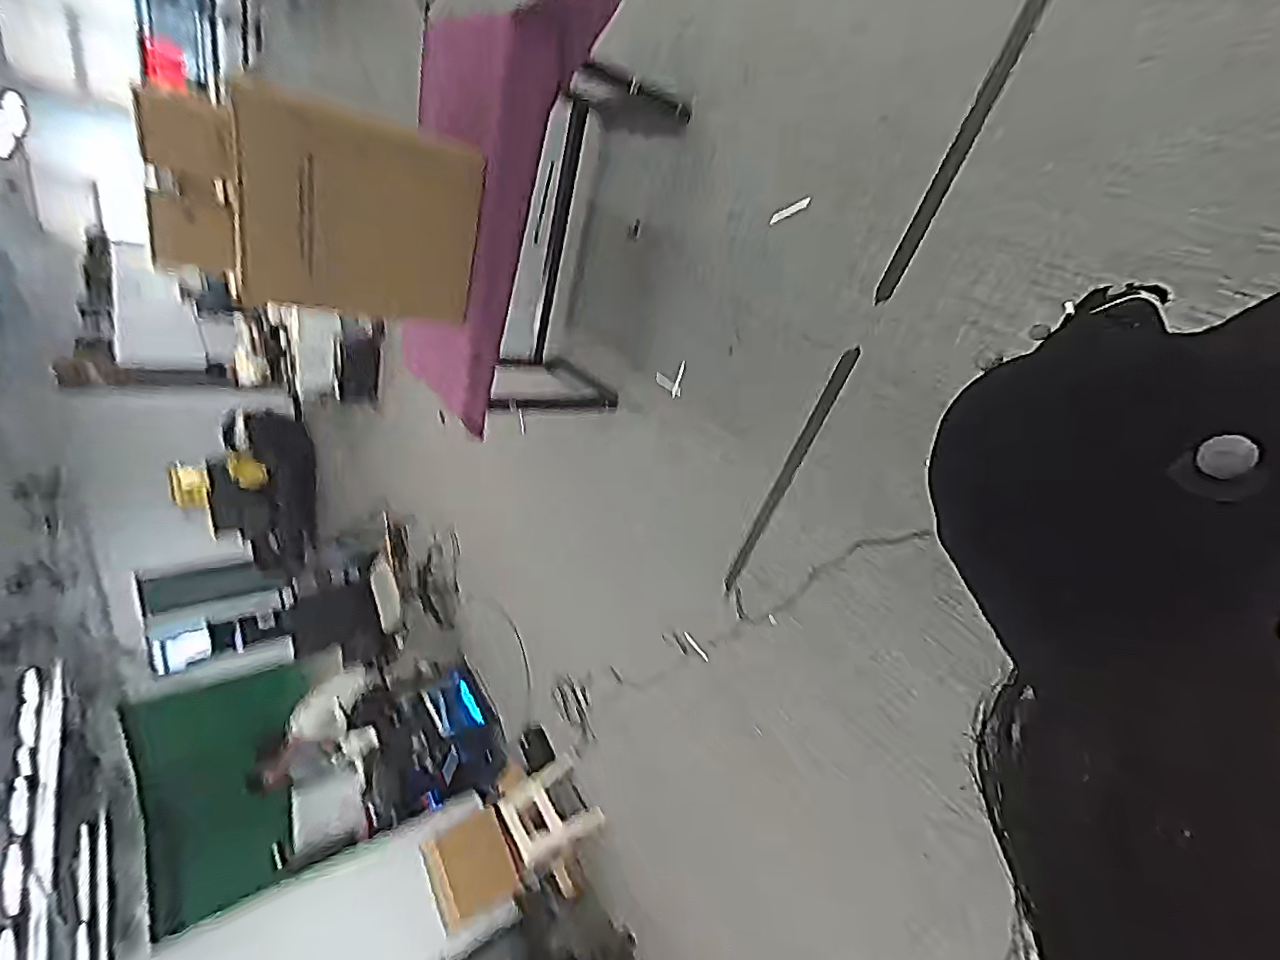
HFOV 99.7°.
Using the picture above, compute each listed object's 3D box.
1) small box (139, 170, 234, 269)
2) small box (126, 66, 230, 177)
[{"bbox_3d":[-1.169,-0.669,1.397,0.168,0.176,0.179,44,126,36],"label":"small box"},{"bbox_3d":[-1.074,-0.831,1.263,0.179,0.176,0.168,44,128,35],"label":"small box"}]
